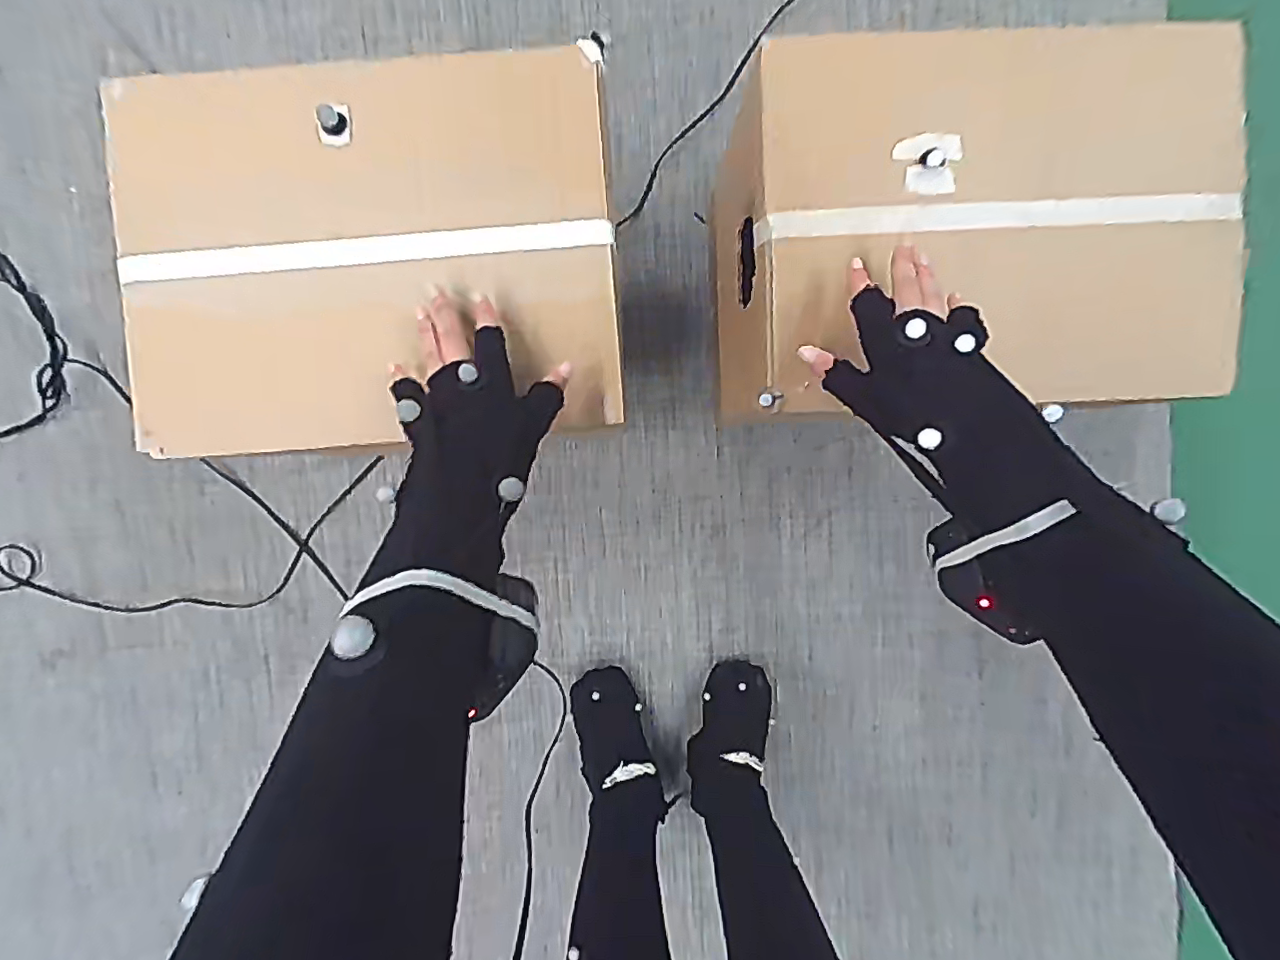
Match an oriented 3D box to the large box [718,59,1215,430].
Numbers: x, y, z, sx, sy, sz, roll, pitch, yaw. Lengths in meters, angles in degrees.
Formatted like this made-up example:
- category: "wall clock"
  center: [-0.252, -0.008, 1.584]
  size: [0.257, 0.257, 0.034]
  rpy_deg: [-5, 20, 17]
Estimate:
- category: "large box"
  center: [0.315, -0.222, 0.636]
  size: [0.408, 0.320, 0.320]
  rpy_deg: [-2, 93, 0]
